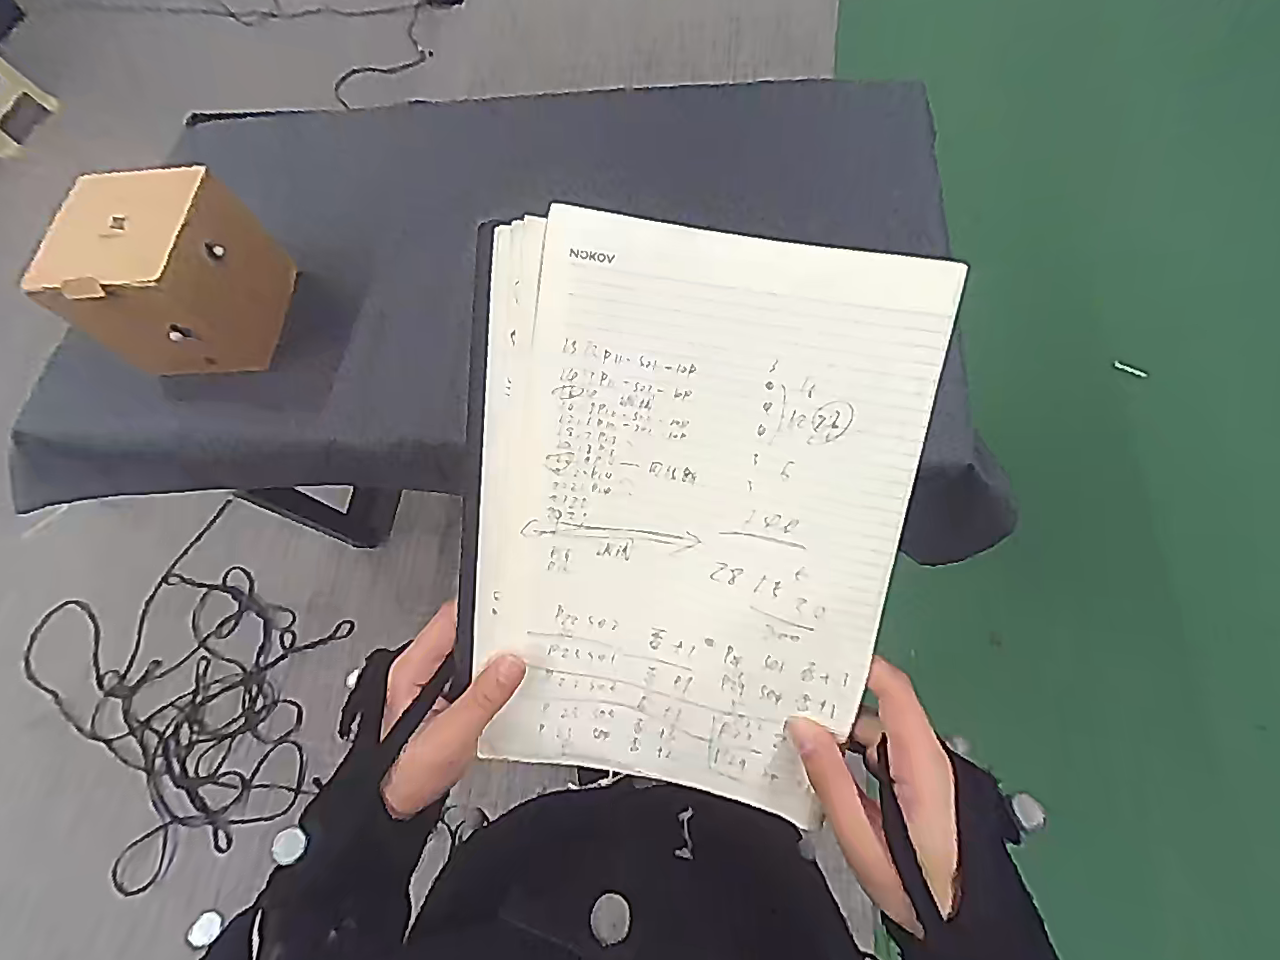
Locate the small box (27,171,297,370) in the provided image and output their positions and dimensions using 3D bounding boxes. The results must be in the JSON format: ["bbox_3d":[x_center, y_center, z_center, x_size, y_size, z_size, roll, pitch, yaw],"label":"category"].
[{"bbox_3d":[-0.578,-0.252,0.686,0.168,0.176,0.179,-1,67,4],"label":"small box"}]
